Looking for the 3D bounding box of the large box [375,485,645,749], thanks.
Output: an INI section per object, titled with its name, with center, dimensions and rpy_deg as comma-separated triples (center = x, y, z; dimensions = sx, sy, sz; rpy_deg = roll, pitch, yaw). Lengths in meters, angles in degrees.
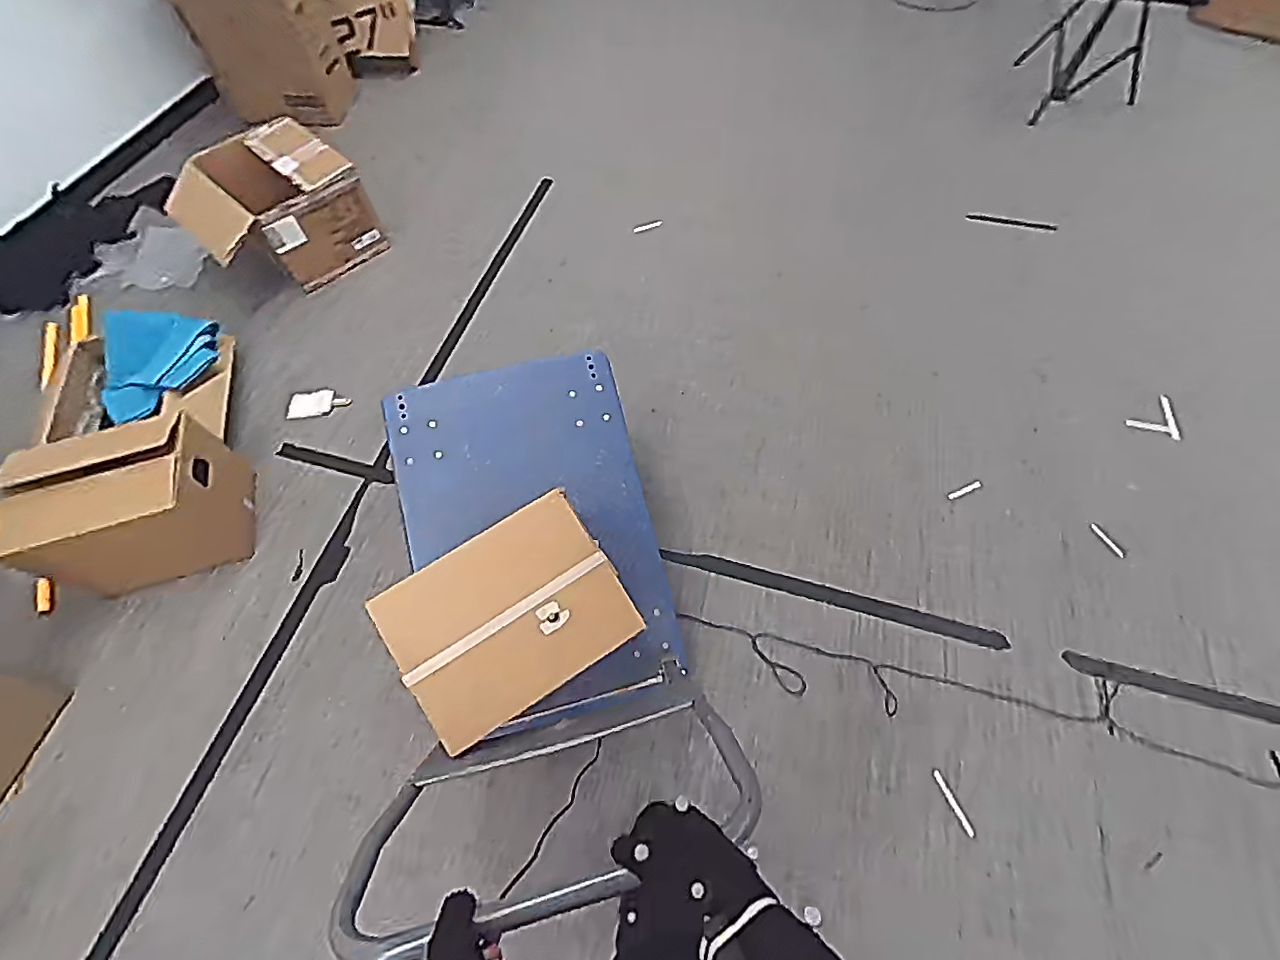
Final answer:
[large box]
center = -0.247, 0.270, 1.132
dimensions = 0.408, 0.320, 0.320
rpy_deg = -32, 84, -11
